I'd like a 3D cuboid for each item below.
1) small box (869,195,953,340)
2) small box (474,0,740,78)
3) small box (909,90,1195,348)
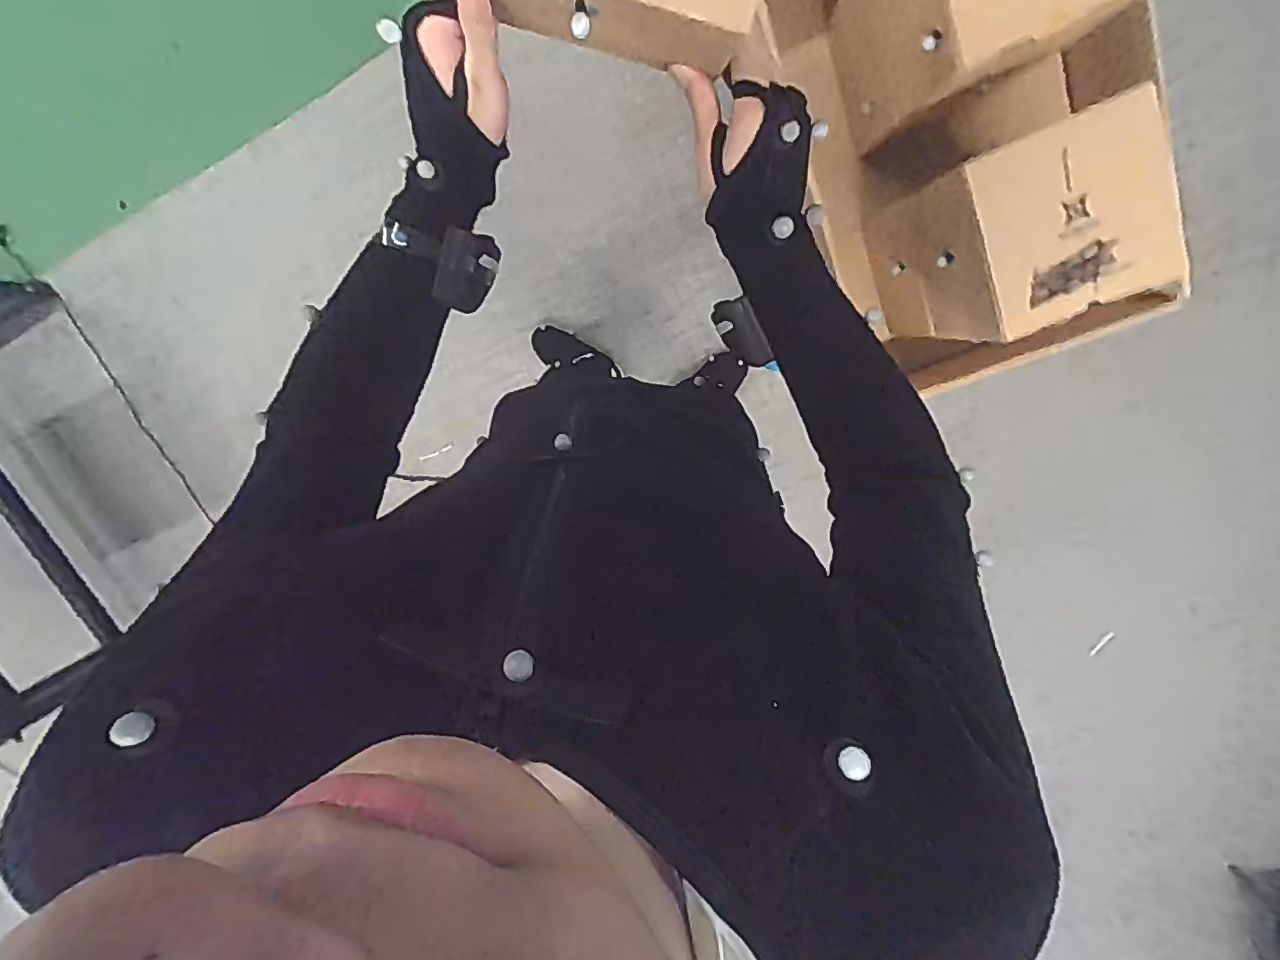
[{"bbox_3d":[0.432,-0.299,0.732,0.168,0.176,0.179,-19,103,11],"label":"small box"},{"bbox_3d":[-0.016,-0.352,0.299,0.179,0.176,0.168,12,118,-6],"label":"small box"},{"bbox_3d":[0.416,-0.255,0.575,0.168,0.176,0.179,-20,101,11],"label":"small box"}]
